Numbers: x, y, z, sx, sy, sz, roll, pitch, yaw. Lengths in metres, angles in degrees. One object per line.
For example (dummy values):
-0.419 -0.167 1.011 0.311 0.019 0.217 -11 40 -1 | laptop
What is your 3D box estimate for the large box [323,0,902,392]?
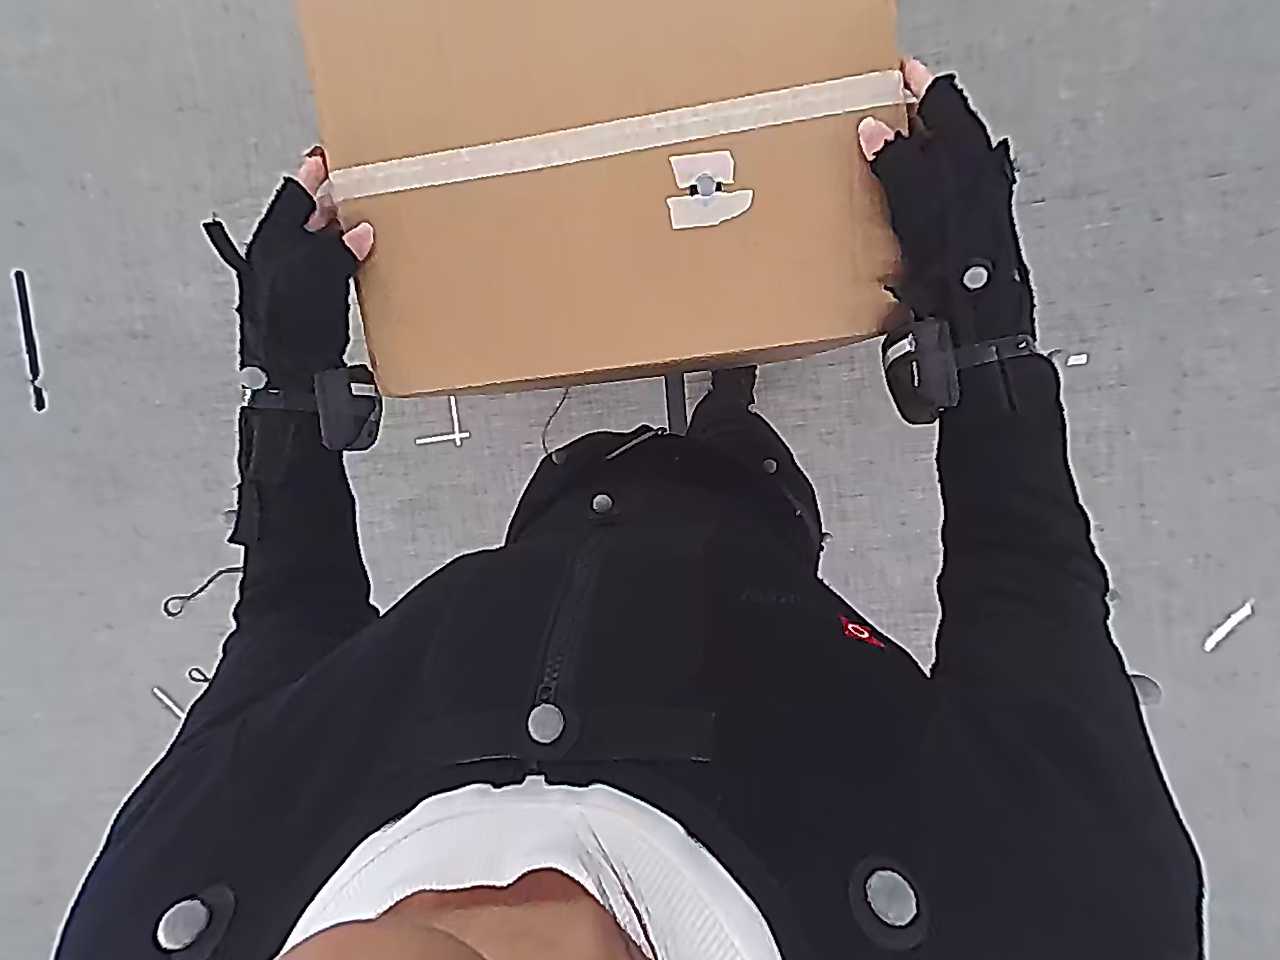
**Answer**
-0.011 -0.270 0.545 0.408 0.320 0.320 -7 99 5 | large box
